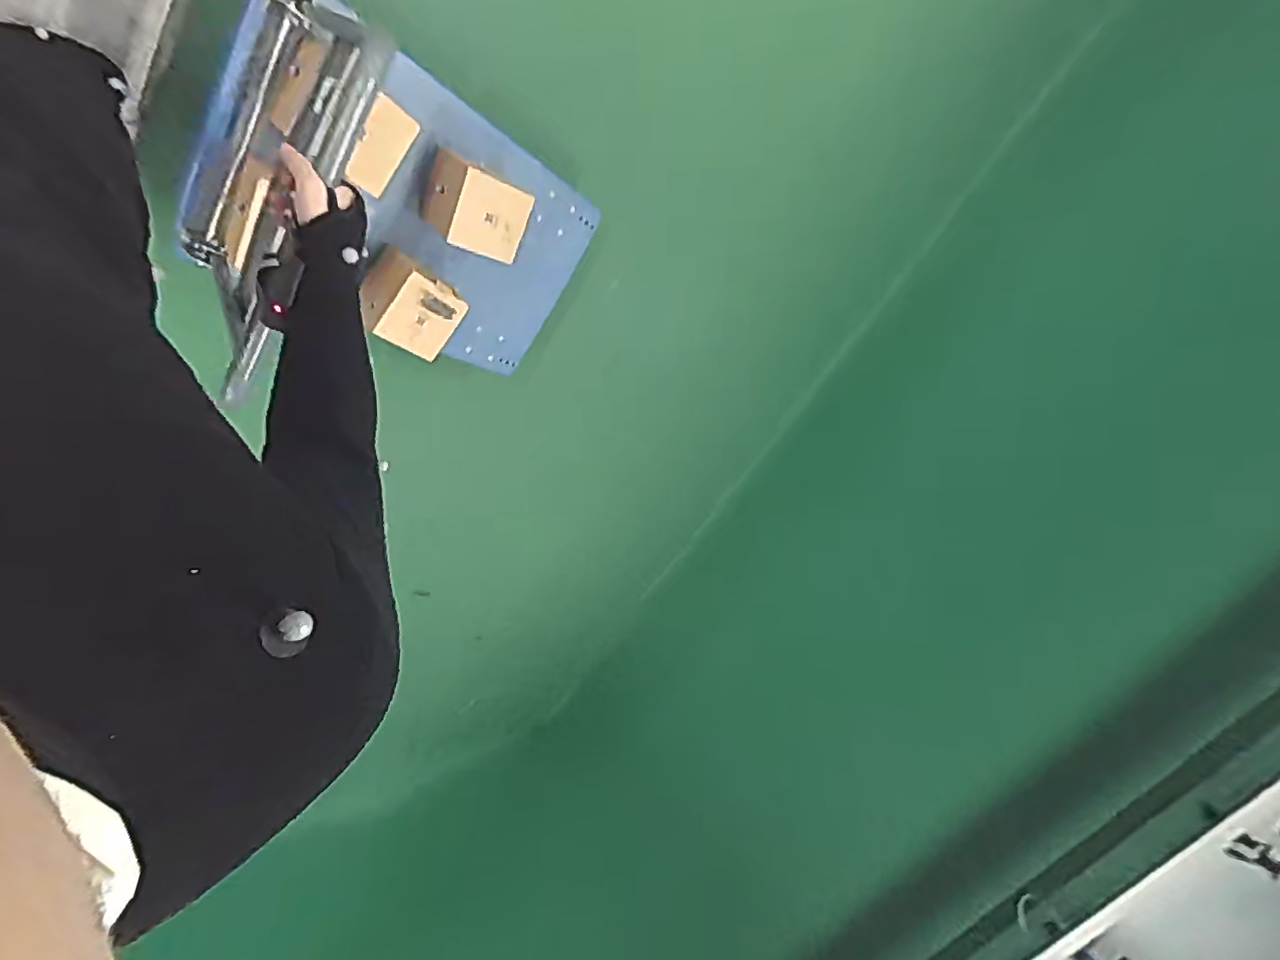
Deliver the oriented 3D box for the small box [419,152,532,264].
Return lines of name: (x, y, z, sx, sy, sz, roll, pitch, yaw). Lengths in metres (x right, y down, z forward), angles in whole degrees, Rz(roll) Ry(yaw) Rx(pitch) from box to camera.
small box: (-0.393, -0.644, 1.276, 0.179, 0.176, 0.168, 1, 127, -48)

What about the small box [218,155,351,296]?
small box: (-0.713, -0.507, 1.077, 0.168, 0.176, 0.179, 9, 122, -51)

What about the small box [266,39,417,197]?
small box: (-0.570, -0.690, 1.032, 0.168, 0.176, 0.179, -50, 146, 11)
